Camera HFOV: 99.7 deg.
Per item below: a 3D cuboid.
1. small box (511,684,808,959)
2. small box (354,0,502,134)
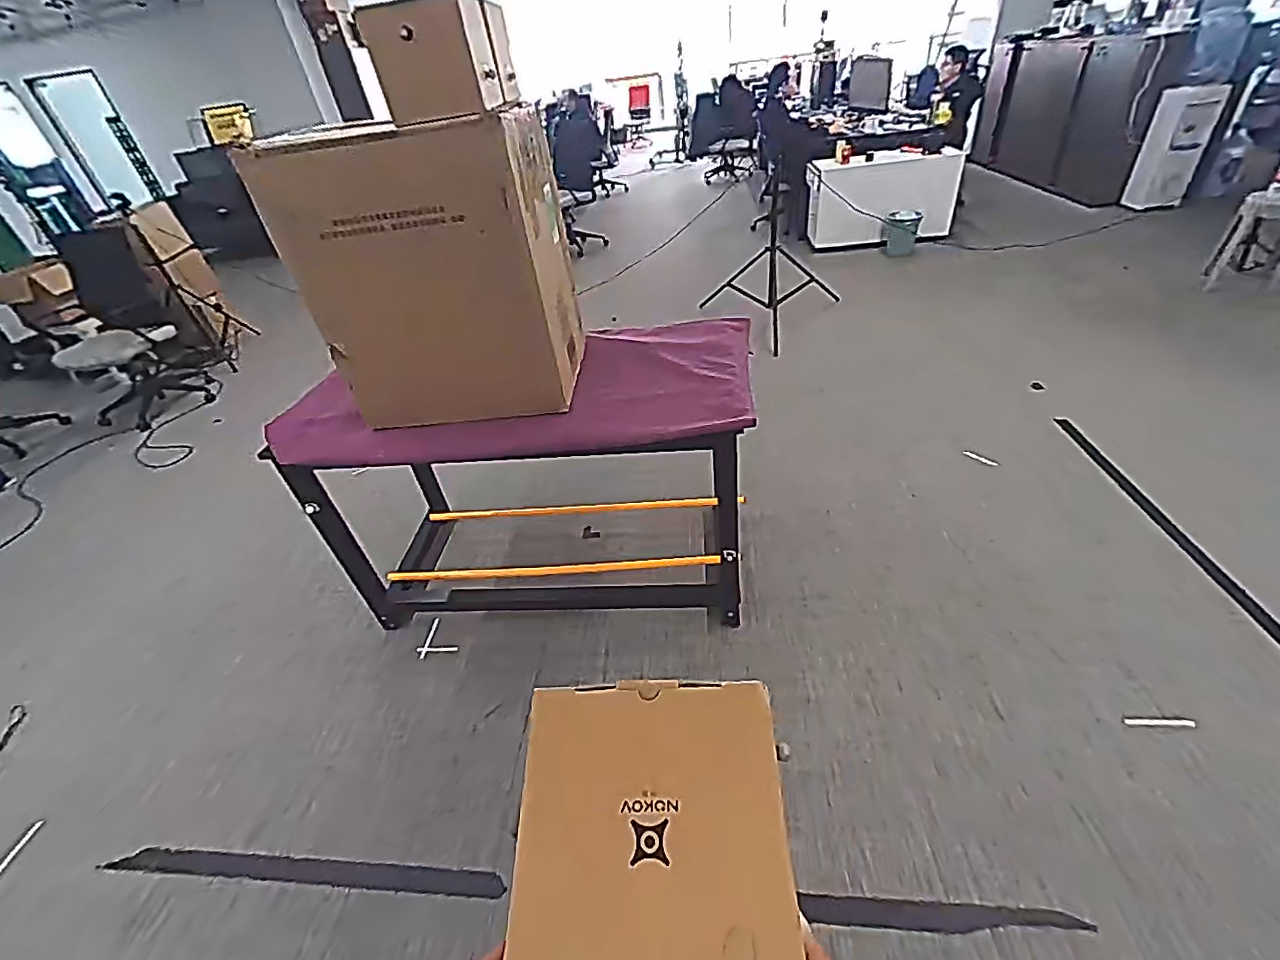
[{"bbox_3d":[0.017,0.263,0.390,0.168,0.176,0.179,-4,52,3],"label":"small box"},{"bbox_3d":[-0.373,-0.748,0.989,0.179,0.176,0.168,-7,38,5],"label":"small box"}]
